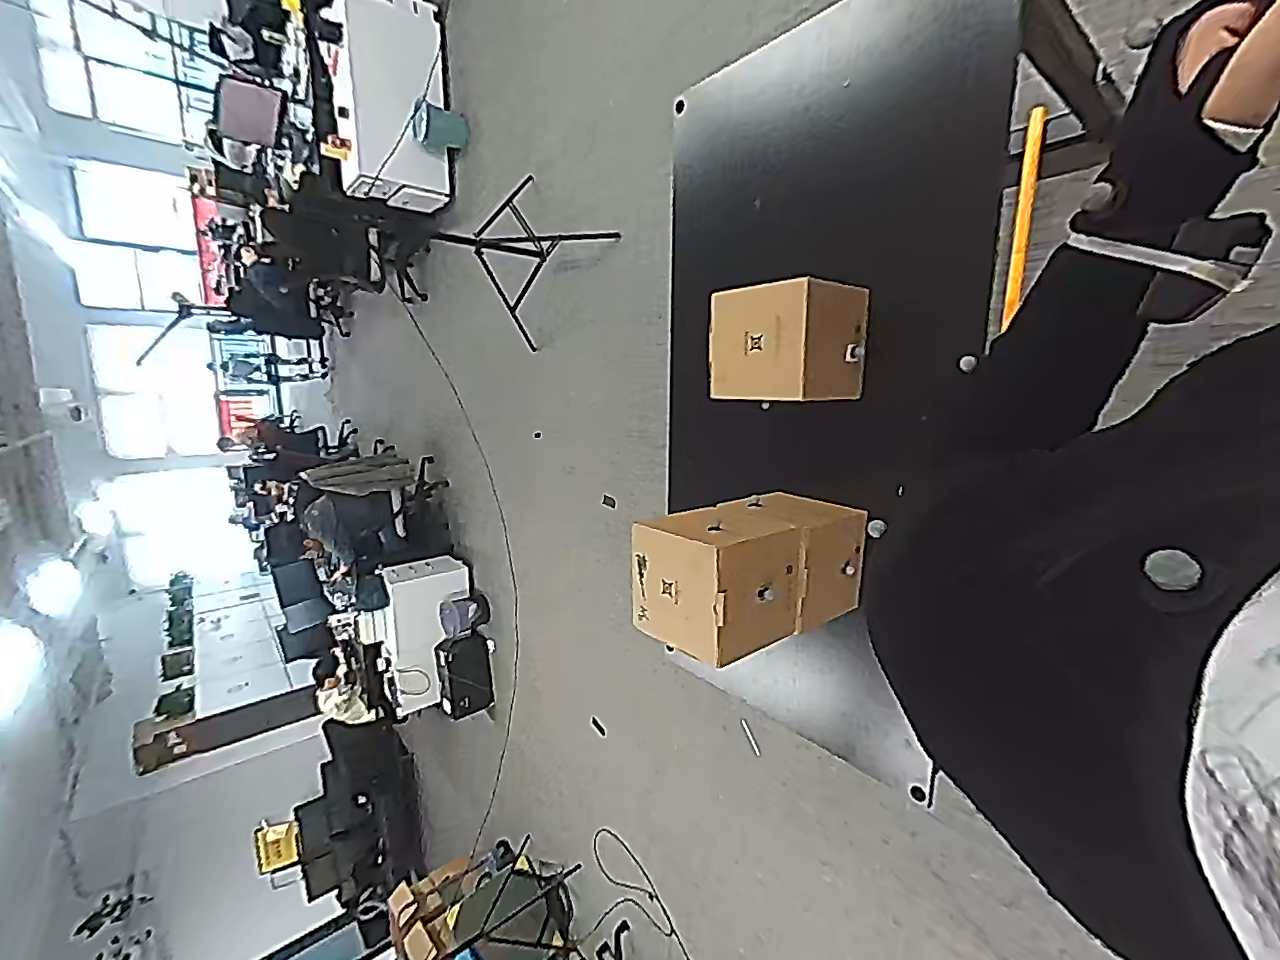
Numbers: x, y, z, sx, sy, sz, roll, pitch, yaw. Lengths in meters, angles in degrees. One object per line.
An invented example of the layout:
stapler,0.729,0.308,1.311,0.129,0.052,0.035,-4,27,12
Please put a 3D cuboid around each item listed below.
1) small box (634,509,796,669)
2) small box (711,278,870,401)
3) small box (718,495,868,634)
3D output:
small box,0.110,0.144,0.793,0.179,0.176,0.168,10,104,49
small box,0.232,-0.210,0.845,0.179,0.176,0.168,11,106,49
small box,0.243,0.125,0.887,0.179,0.176,0.168,15,108,49
